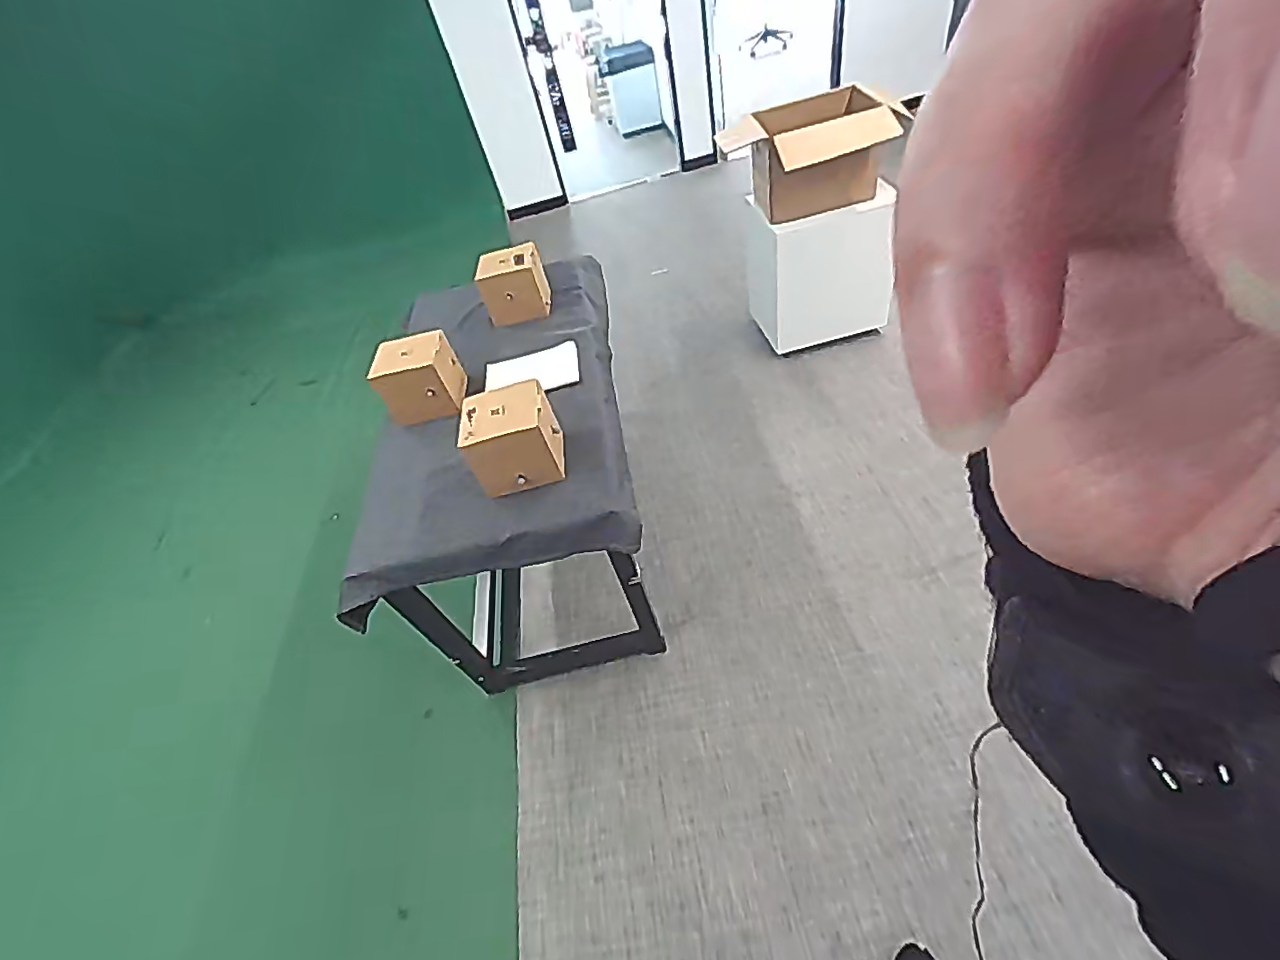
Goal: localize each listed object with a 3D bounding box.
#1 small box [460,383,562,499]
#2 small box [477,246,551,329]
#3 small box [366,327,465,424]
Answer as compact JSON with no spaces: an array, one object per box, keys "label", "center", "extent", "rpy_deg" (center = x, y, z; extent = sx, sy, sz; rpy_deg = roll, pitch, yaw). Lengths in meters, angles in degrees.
[{"label":"small box","center":[-0.276,-0.083,1.199],"extent":[0.179,0.176,0.168],"rpy_deg":[-14,46,3]},{"label":"small box","center":[-0.386,-0.598,1.692],"extent":[0.179,0.176,0.168],"rpy_deg":[-11,47,5]},{"label":"small box","center":[-0.583,-0.274,1.431],"extent":[0.179,0.176,0.168],"rpy_deg":[-13,46,3]}]
